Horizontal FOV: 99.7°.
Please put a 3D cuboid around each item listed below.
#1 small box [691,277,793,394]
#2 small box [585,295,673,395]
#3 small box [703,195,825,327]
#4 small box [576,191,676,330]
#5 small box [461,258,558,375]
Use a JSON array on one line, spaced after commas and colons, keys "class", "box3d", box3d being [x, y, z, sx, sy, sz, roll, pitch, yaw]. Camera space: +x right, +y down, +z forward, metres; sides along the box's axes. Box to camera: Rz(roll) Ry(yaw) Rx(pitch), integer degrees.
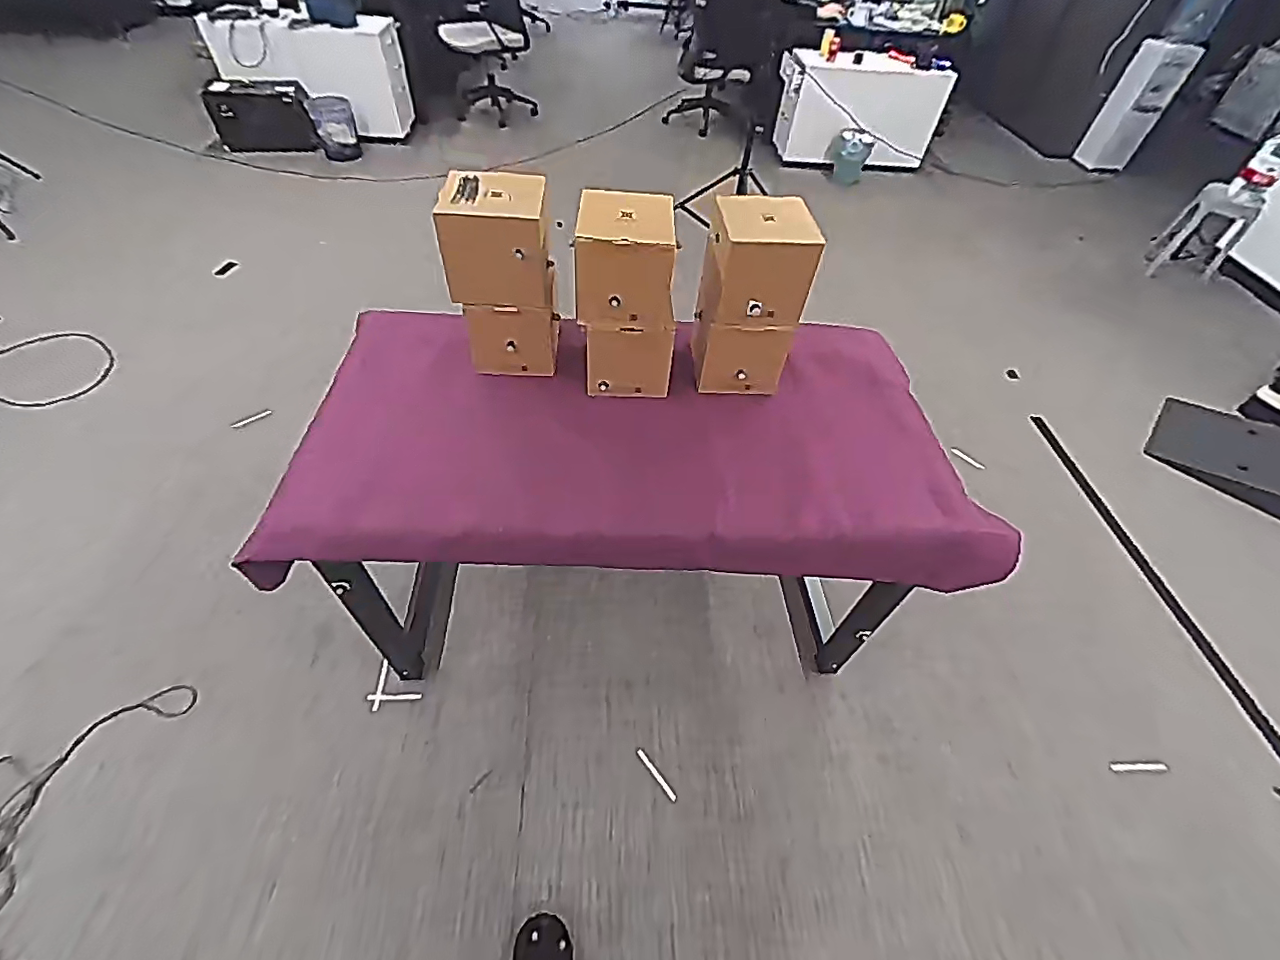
[{"class": "small box", "box3d": [0.204, -0.303, 1.139, 0.168, 0.176, 0.179, 0, 51, -4]}, {"class": "small box", "box3d": [-0.026, -0.290, 1.108, 0.168, 0.176, 0.179, 1, 50, -5]}, {"class": "small box", "box3d": [0.220, -0.409, 1.017, 0.168, 0.176, 0.179, -2, 52, -5]}, {"class": "small box", "box3d": [-0.029, -0.397, 0.985, 0.168, 0.176, 0.179, 3, 52, -3]}, {"class": "small box", "box3d": [-0.260, -0.336, 1.124, 0.168, 0.176, 0.179, 1, 52, -5]}]
